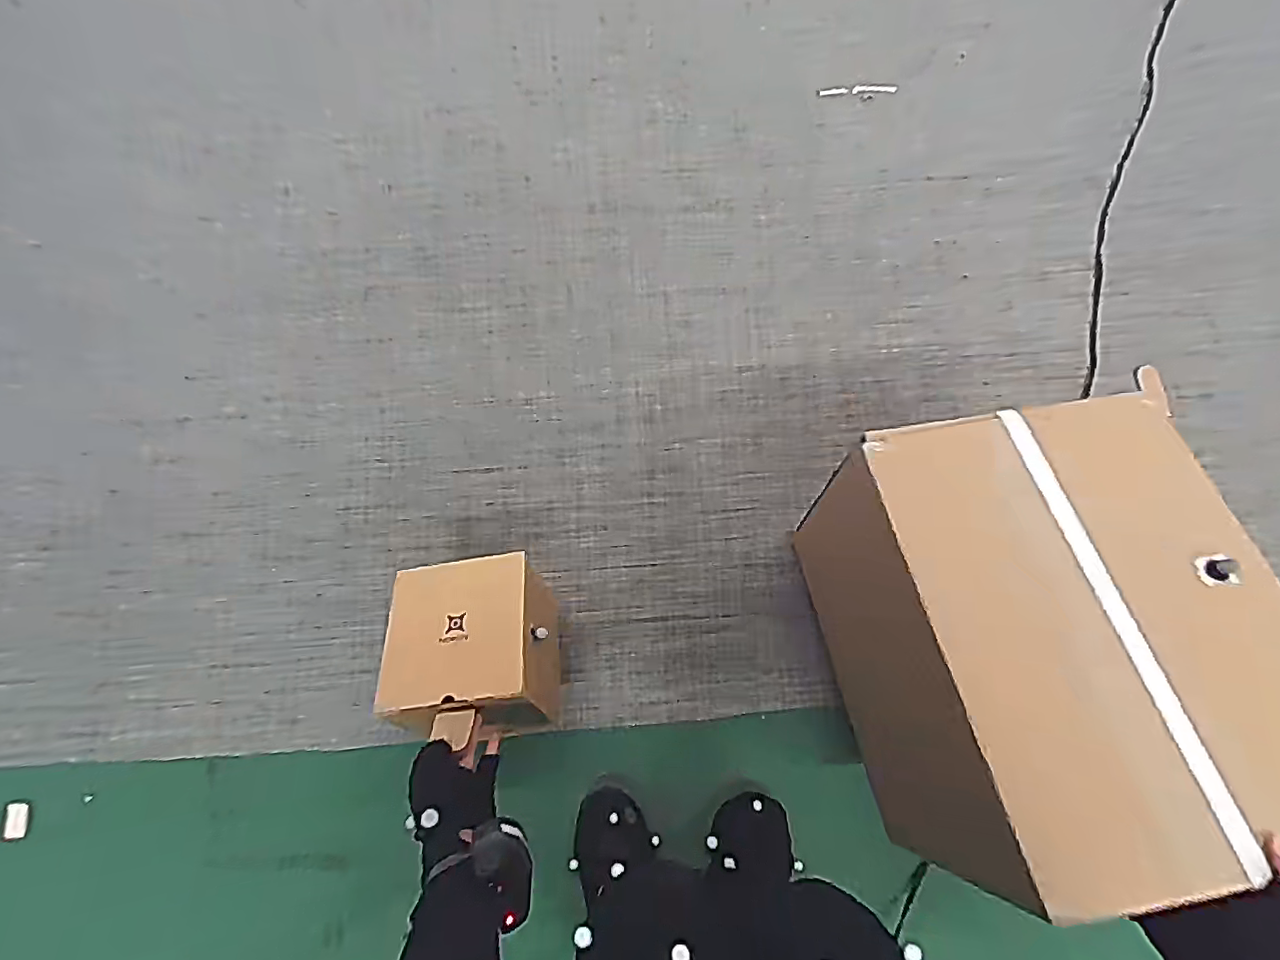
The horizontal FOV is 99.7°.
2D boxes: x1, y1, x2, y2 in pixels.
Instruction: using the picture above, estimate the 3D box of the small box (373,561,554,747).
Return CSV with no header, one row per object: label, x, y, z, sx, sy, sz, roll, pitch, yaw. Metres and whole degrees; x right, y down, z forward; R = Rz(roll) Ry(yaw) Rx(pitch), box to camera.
small box,-0.210,0.227,0.696,0.168,0.176,0.179,-9,56,1
